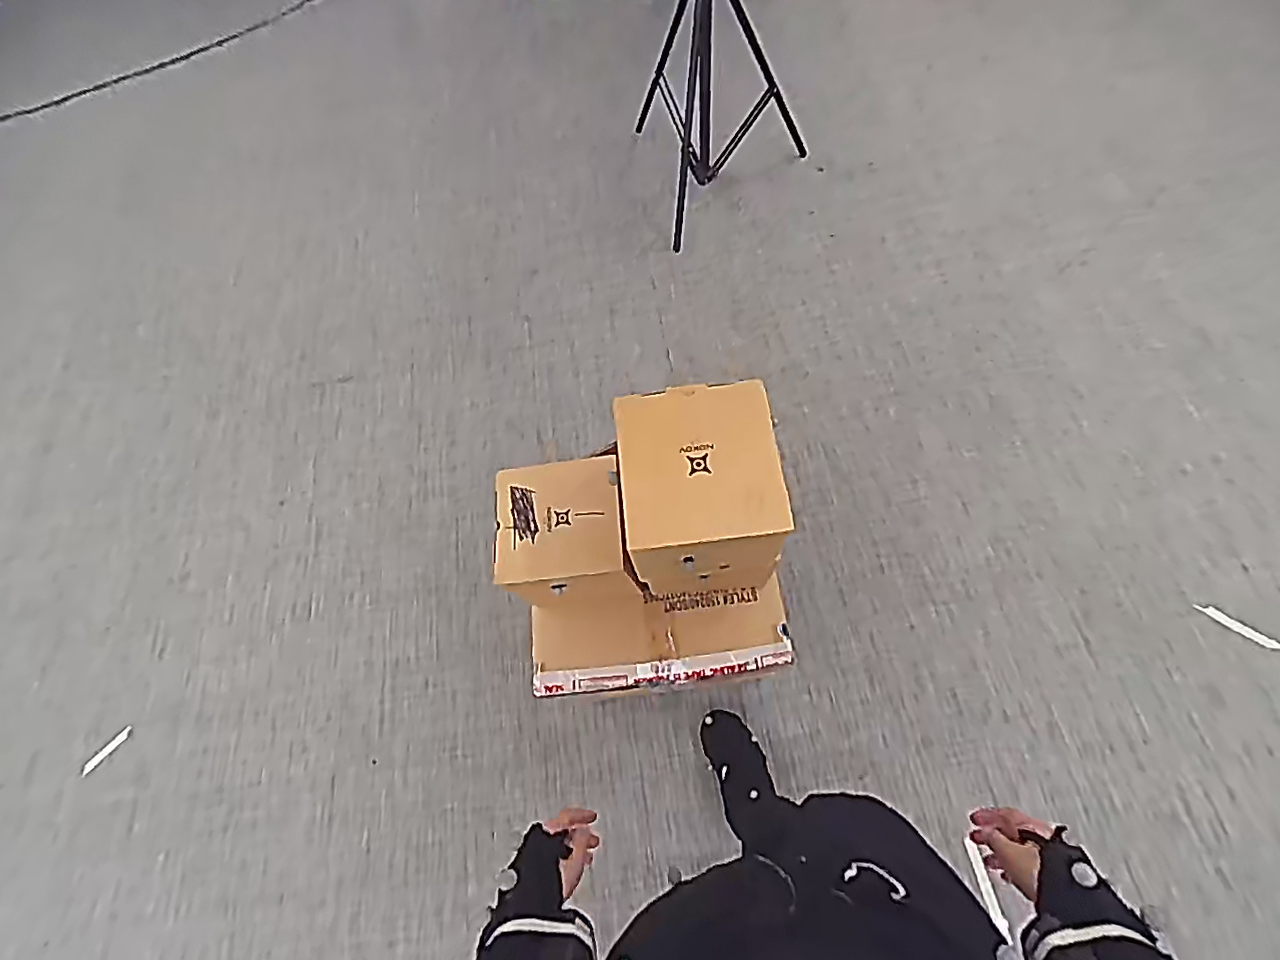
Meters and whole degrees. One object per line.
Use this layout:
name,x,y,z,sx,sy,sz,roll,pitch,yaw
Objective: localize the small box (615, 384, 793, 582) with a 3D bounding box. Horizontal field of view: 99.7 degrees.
small box,0.069,0.015,0.629,0.168,0.176,0.179,-8,67,3
